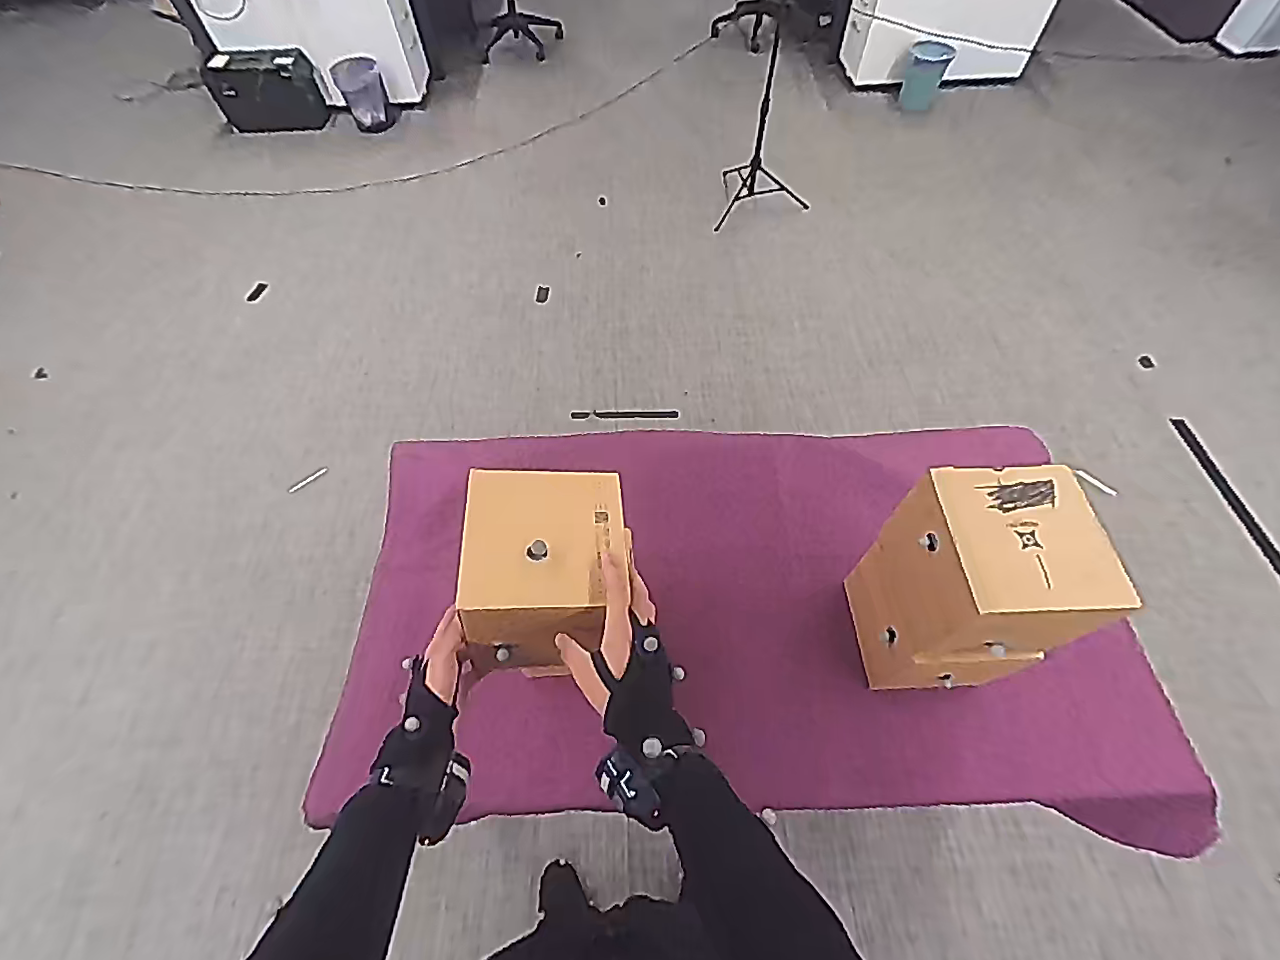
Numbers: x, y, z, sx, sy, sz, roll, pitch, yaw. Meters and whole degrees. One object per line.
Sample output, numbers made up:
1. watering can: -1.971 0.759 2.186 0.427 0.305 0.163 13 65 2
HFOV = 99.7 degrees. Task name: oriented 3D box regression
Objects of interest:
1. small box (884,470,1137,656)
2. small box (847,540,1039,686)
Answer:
1. small box: 0.420 0.105 0.655 0.168 0.176 0.179 -2 59 1
2. small box: 0.422 0.199 0.790 0.168 0.176 0.179 -2 58 0
